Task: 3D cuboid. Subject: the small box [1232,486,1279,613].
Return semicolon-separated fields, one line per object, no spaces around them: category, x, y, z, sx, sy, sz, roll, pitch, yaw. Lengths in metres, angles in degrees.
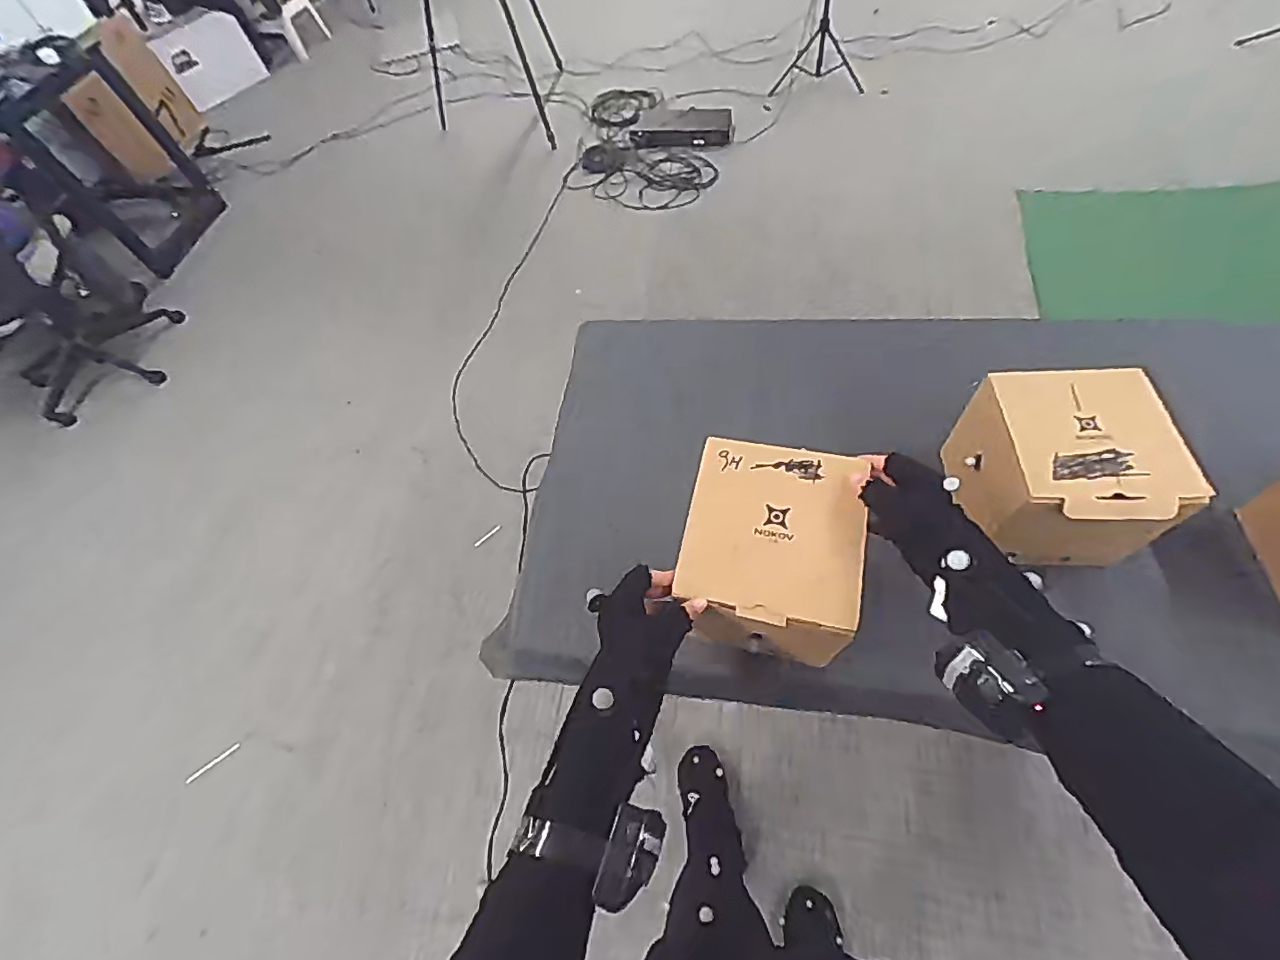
small box;0.800;0.078;0.557;0.168;0.176;0.179;1;57;9

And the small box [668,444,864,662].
small box;0.135;0.086;0.588;0.168;0.176;0.179;9;64;13

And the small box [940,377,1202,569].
small box;0.491;-0.001;0.654;0.168;0.176;0.179;-1;57;8
